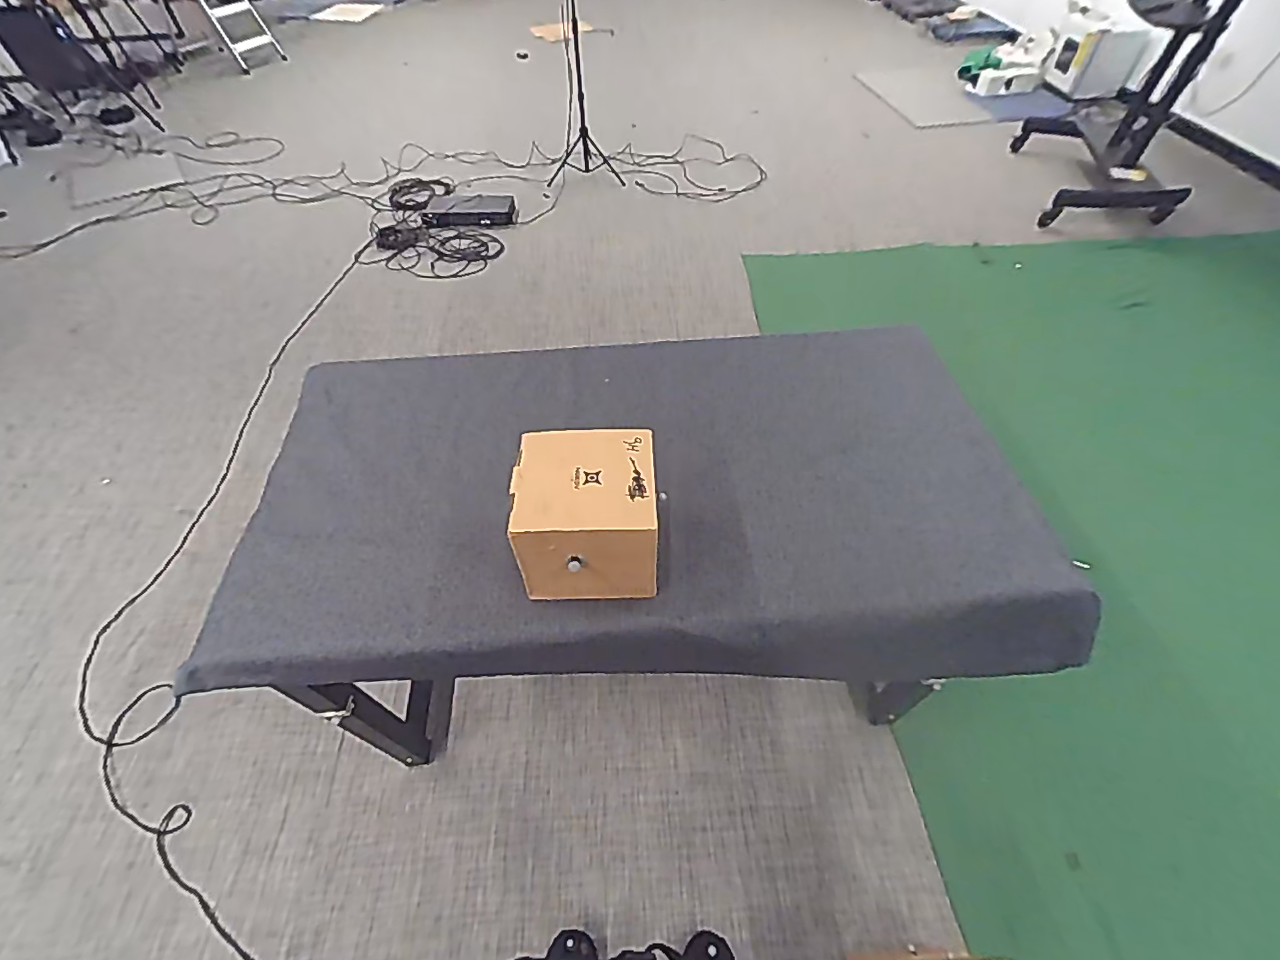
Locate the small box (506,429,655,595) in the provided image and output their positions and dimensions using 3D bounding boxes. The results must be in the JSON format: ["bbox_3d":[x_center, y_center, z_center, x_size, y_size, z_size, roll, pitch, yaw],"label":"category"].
[{"bbox_3d":[-0.069,0.047,0.739,0.179,0.176,0.168,-1,51,0],"label":"small box"}]

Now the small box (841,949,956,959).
[{"bbox_3d":[0.472,0.946,0.954,0.179,0.176,0.168,-4,50,-1],"label":"small box"}]

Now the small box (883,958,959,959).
[{"bbox_3d":[0.459,0.844,0.825,0.179,0.176,0.168,-2,50,0],"label":"small box"}]
